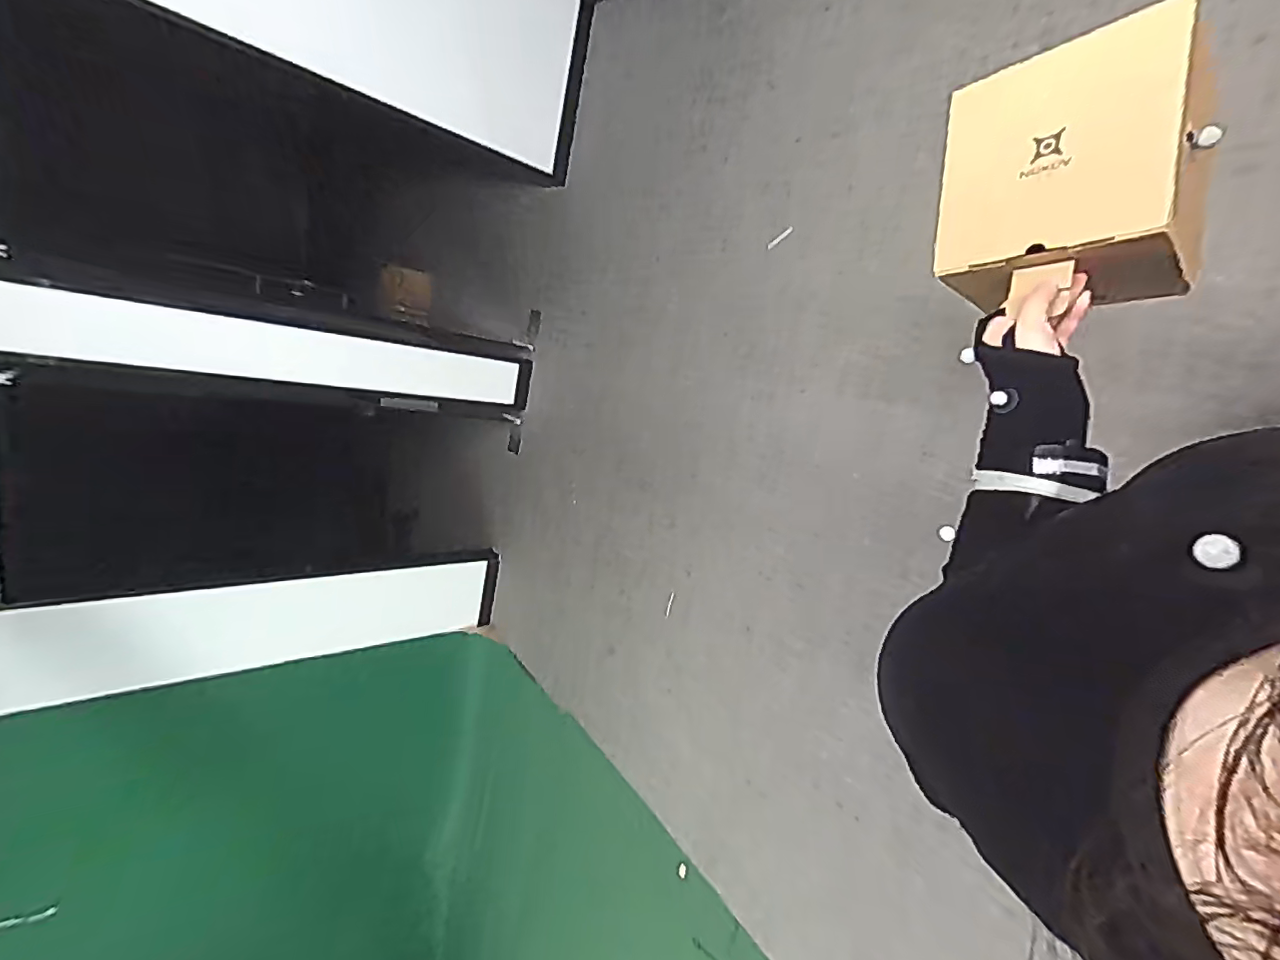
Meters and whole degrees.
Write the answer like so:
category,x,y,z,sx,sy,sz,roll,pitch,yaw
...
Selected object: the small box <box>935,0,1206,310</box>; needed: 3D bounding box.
category,x,y,z,sx,sy,sz,roll,pitch,yaw
small box,0.405,-0.278,0.510,0.168,0.176,0.179,7,94,49
